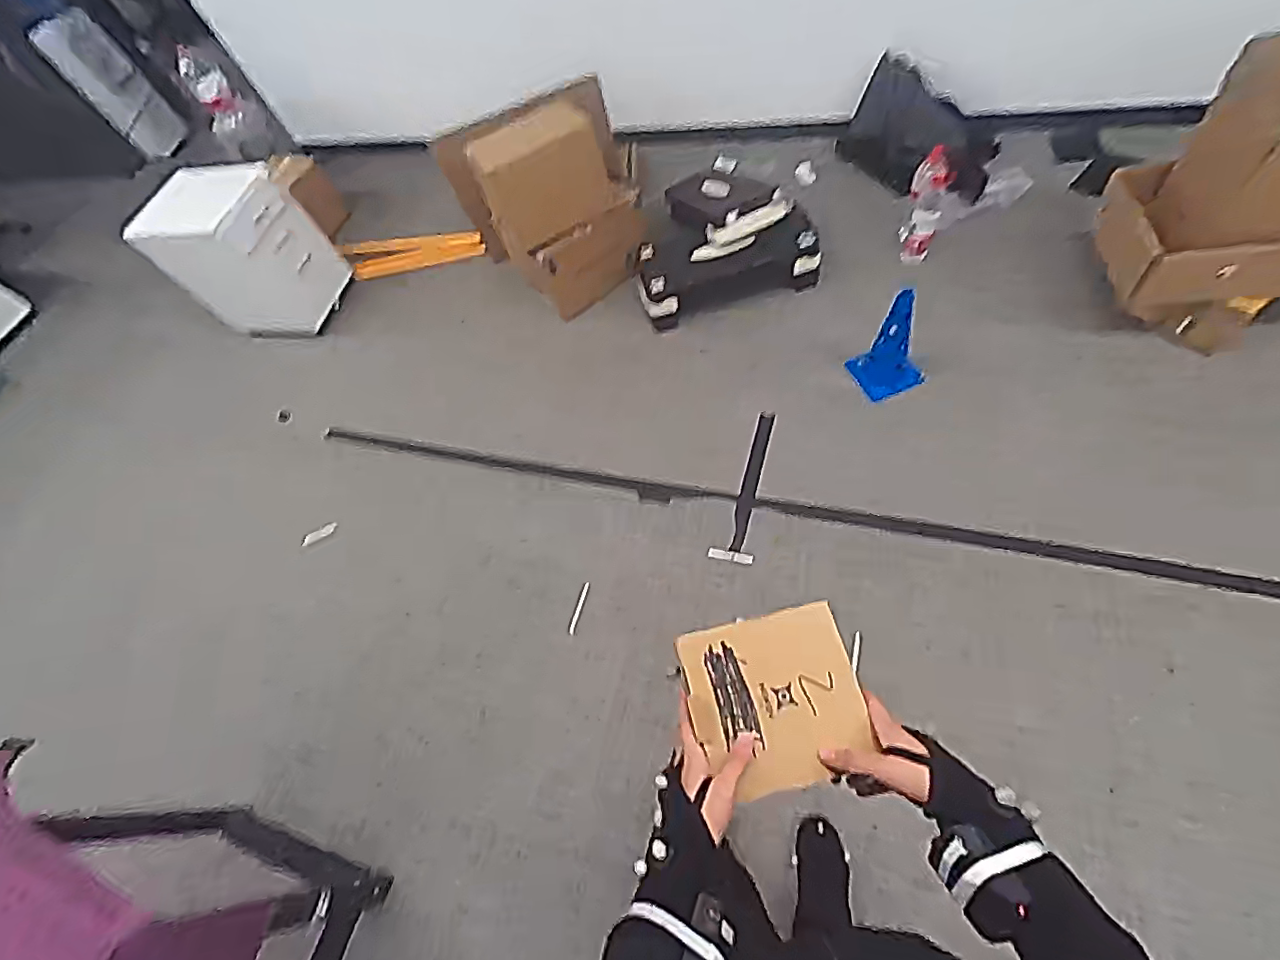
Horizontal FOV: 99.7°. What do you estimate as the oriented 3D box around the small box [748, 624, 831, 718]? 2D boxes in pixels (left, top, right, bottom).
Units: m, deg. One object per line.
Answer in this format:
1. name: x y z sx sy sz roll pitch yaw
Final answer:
1. small box: 0.384 0.496 1.390 0.168 0.176 0.179 14 66 20
